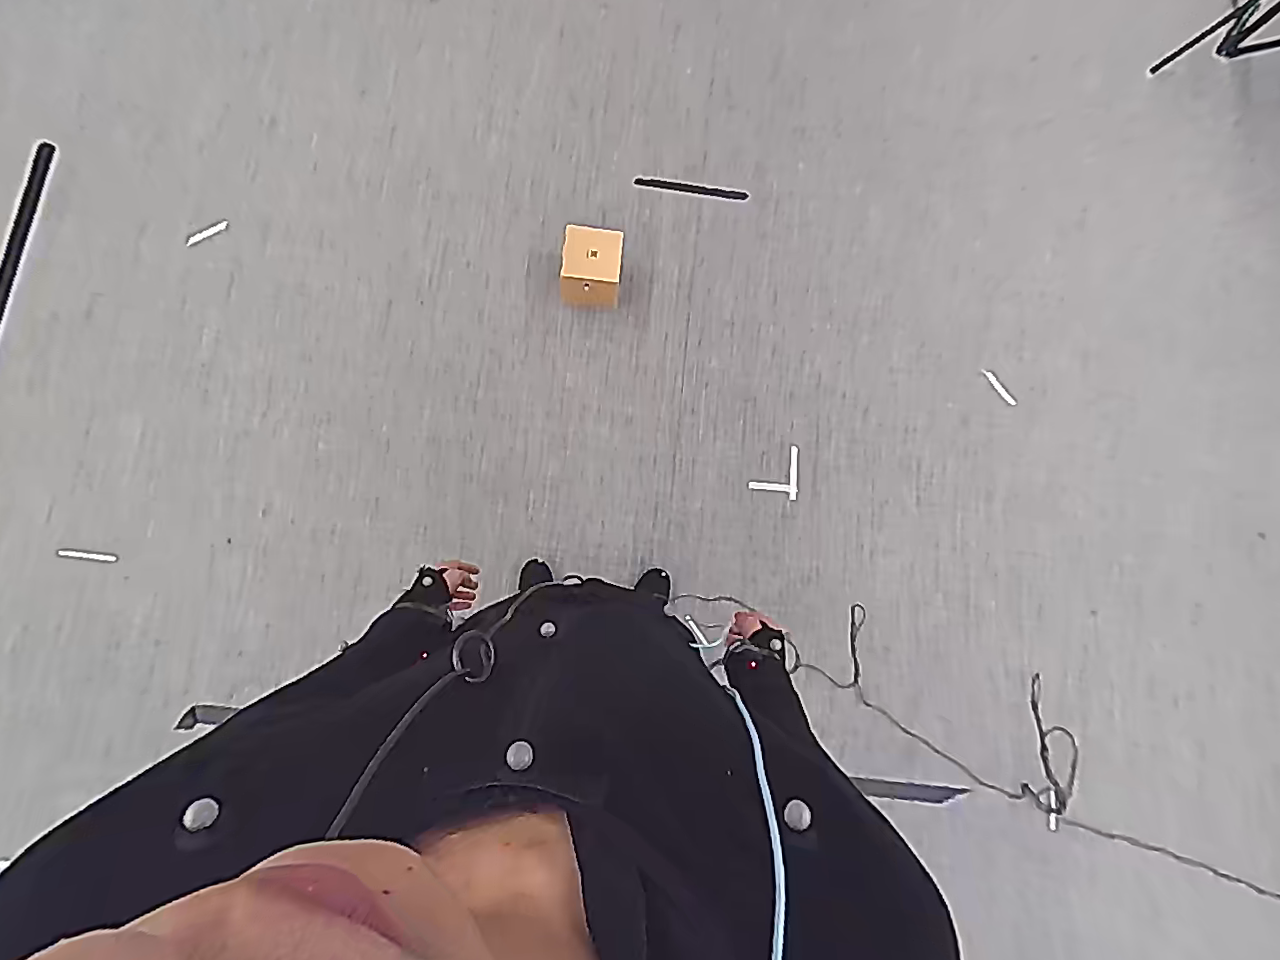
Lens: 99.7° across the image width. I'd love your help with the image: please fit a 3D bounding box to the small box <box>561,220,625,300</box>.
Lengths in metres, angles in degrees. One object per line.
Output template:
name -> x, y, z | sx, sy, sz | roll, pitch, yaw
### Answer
small box -> -0.145, -0.677, 1.685 | 0.179, 0.176, 0.168 | 6, 83, -3
